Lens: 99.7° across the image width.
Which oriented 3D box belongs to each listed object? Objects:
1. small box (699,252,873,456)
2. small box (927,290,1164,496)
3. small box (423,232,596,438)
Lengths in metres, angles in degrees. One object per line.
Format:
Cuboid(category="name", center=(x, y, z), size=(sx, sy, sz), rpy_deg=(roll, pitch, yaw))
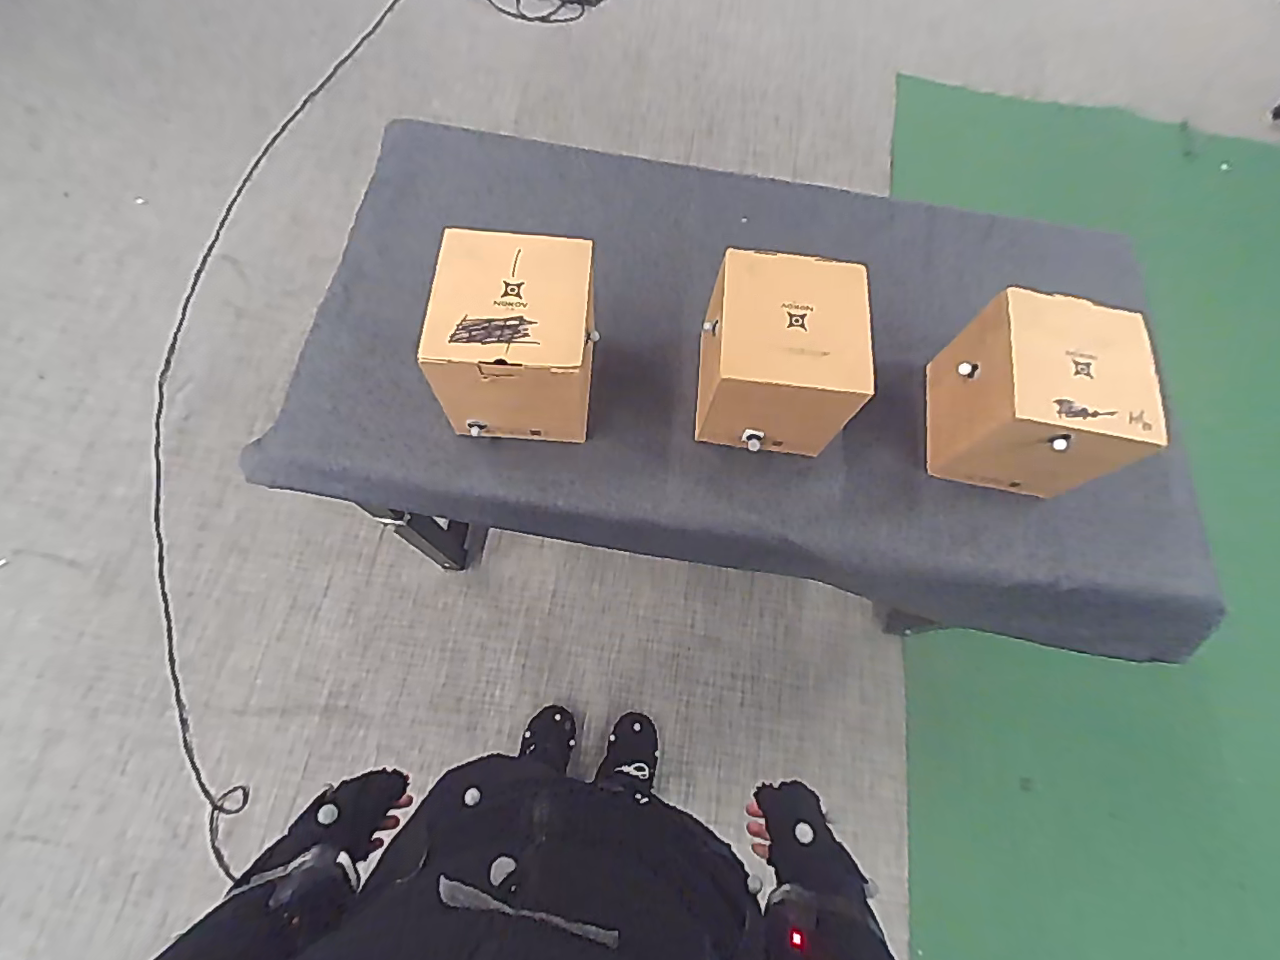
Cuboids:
Cuboid(category="small box", center=(0.169, -0.148, 0.673), size=(0.168, 0.176, 0.179), rpy_deg=(6, 70, -1))
Cuboid(category="small box", center=(0.481, -0.100, 0.674), size=(0.168, 0.176, 0.179), rpy_deg=(11, 68, 1))
Cuboid(category="small box", center=(-0.141, -0.164, 0.652), size=(0.168, 0.176, 0.179), rpy_deg=(4, 67, -3))
